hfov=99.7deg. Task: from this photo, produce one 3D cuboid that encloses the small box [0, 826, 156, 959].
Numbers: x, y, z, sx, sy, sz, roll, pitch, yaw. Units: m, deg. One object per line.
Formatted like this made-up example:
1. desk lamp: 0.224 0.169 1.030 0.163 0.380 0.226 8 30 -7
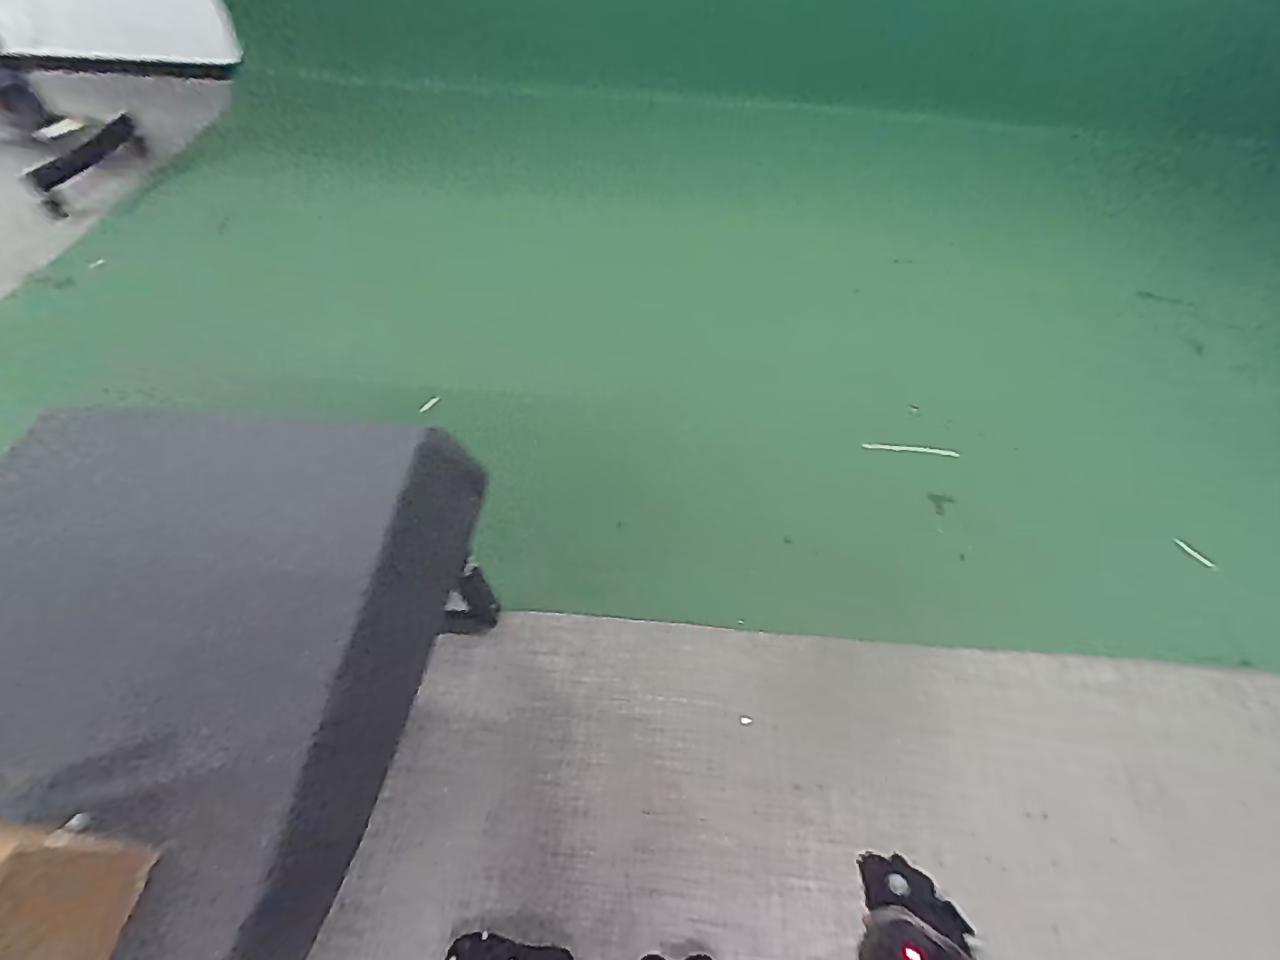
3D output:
1. small box: -0.567 0.393 0.443 0.168 0.176 0.179 5 54 1
